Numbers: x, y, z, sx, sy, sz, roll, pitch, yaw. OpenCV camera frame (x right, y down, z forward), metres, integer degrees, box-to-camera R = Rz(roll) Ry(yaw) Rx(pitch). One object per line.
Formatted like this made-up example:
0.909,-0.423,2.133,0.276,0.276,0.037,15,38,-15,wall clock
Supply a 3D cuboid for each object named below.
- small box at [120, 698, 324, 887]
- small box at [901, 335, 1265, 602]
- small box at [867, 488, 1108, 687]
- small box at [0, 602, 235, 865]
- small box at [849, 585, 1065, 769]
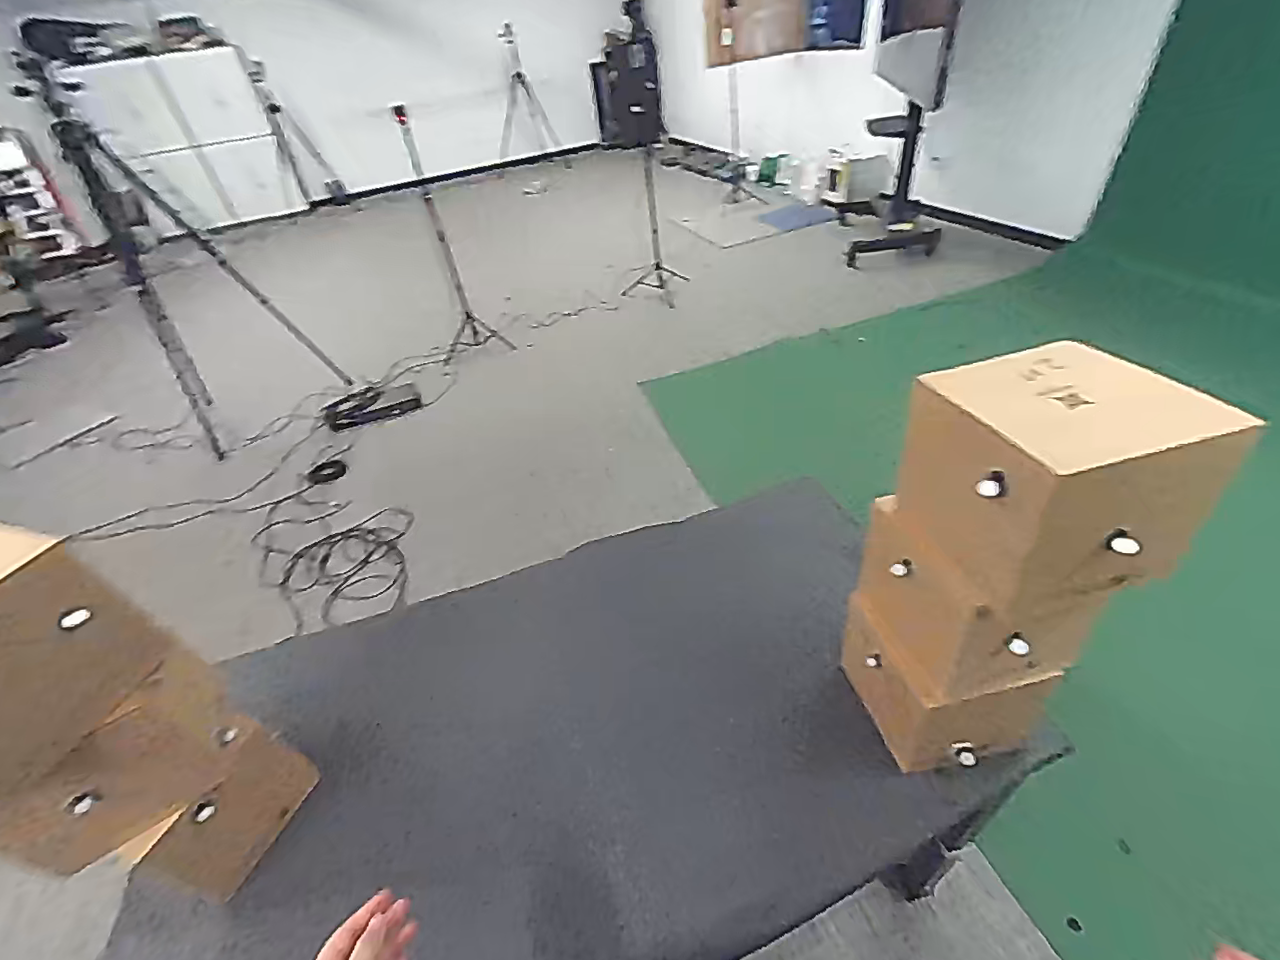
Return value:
-0.575,0.401,0.718,0.179,0.176,0.168,10,44,20,small box
0.370,-0.008,0.499,0.168,0.176,0.179,-13,36,-4,small box
0.382,0.110,0.616,0.168,0.176,0.179,-14,36,-4,small box
-0.594,0.280,0.608,0.179,0.176,0.168,-31,46,-23,small box
0.393,0.242,0.712,0.168,0.176,0.179,-14,38,-2,small box
